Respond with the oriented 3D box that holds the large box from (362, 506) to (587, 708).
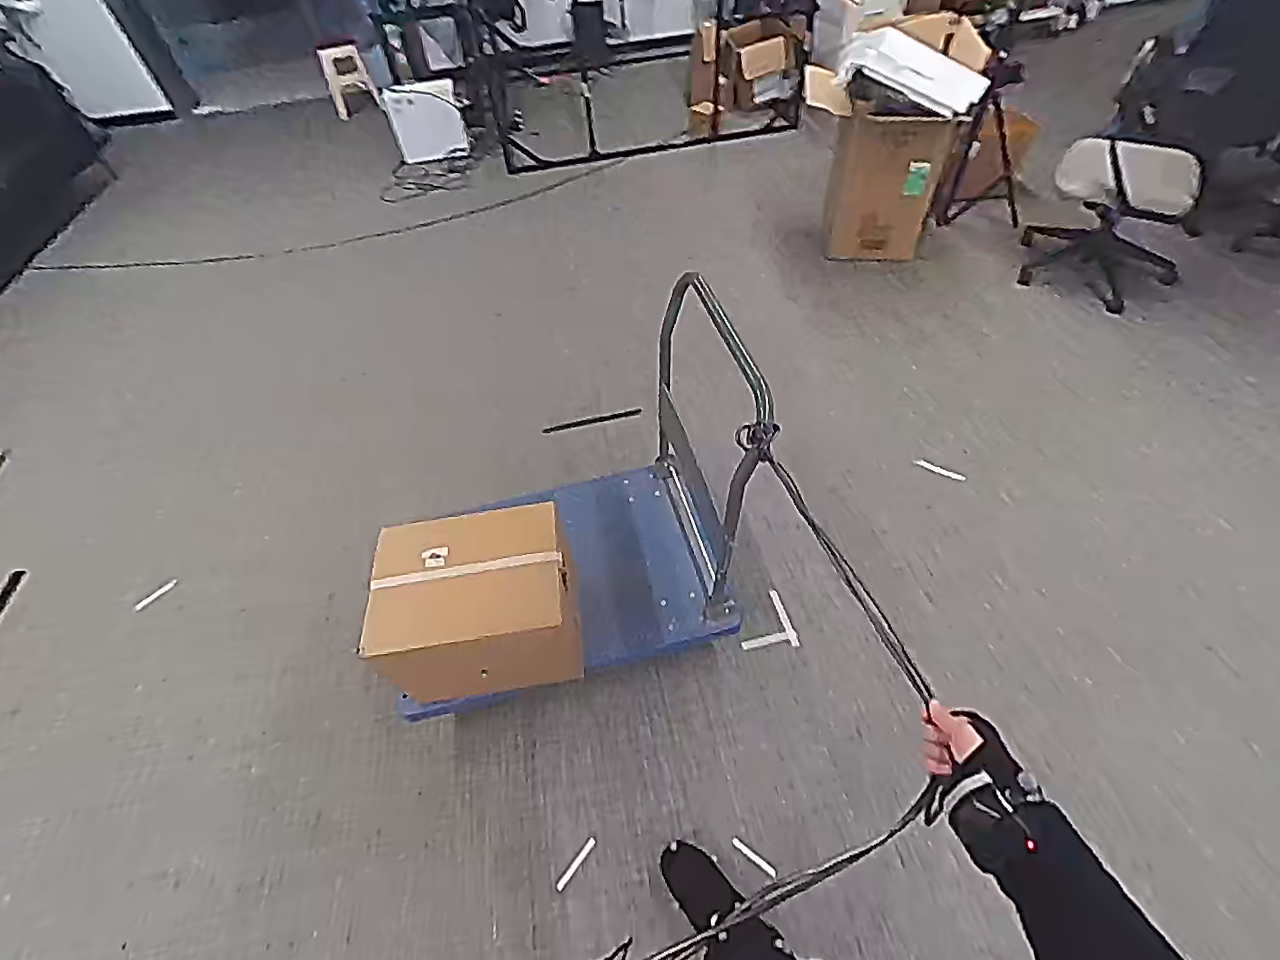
[{"bbox_3d":[-0.357,0.303,1.264,0.408,0.320,0.320,-10,50,-2],"label":"large box"}]
